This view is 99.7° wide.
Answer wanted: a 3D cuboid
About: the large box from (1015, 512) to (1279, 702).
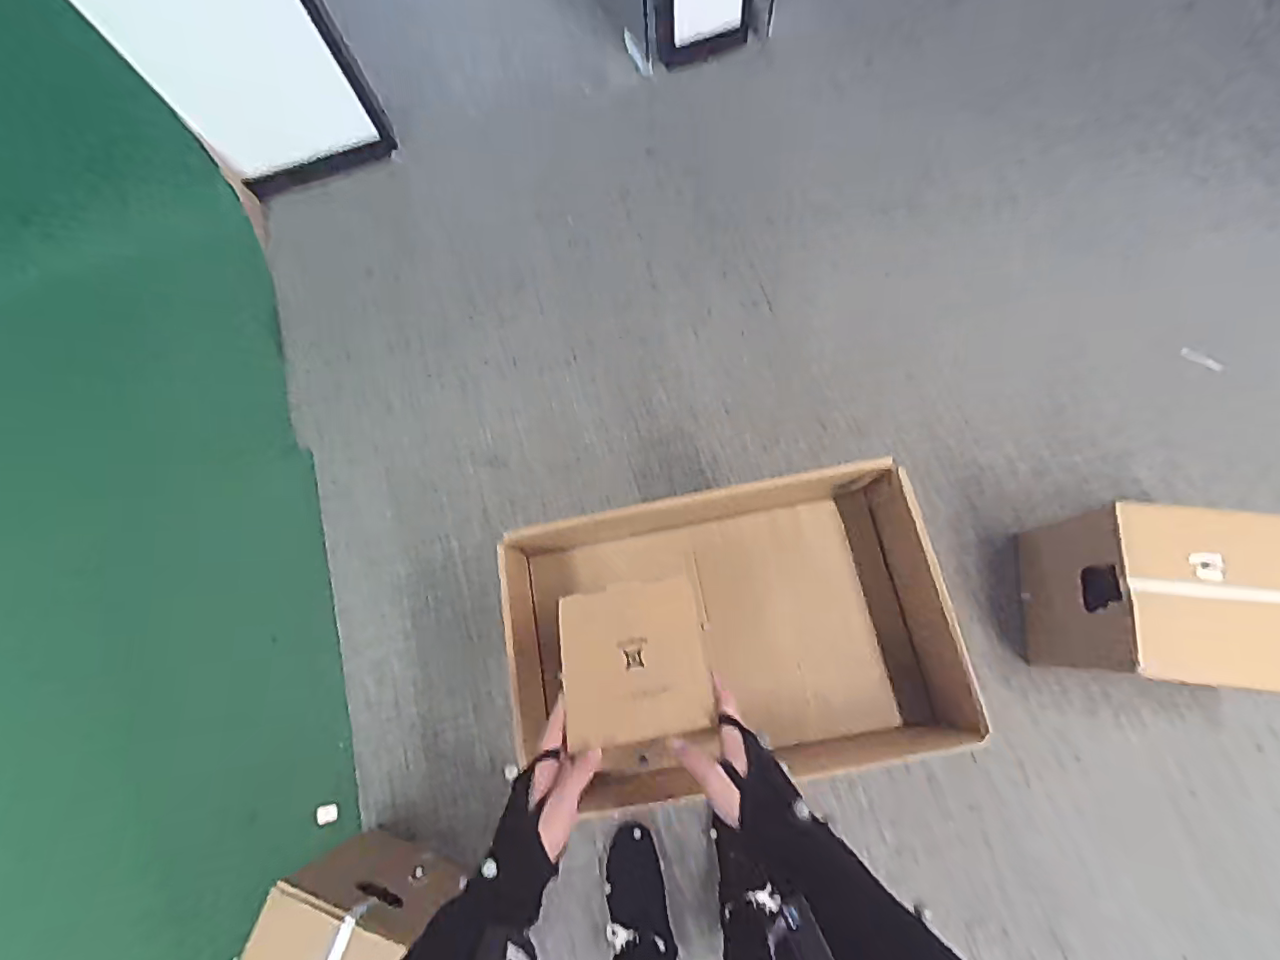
[{"bbox_3d":[1.065,0.262,1.090,0.408,0.320,0.320,5,73,6],"label":"large box"}]
